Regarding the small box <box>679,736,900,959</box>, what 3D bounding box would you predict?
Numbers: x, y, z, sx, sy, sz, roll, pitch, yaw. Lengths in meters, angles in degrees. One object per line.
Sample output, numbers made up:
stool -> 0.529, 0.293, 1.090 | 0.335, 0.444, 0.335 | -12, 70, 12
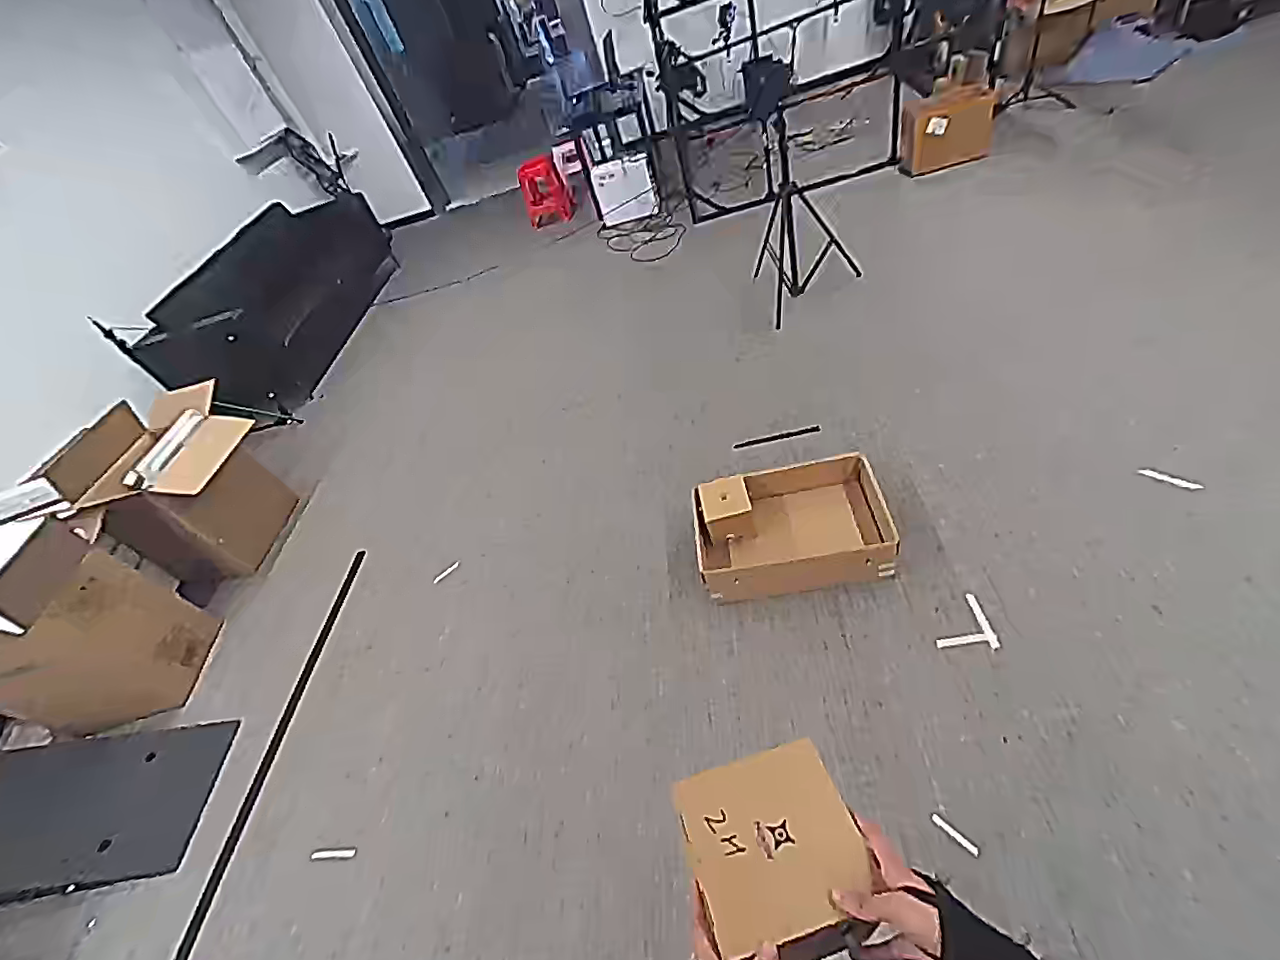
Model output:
small box -> 0.152, 0.427, 0.609 | 0.179, 0.176, 0.168 | -15, 39, -7
